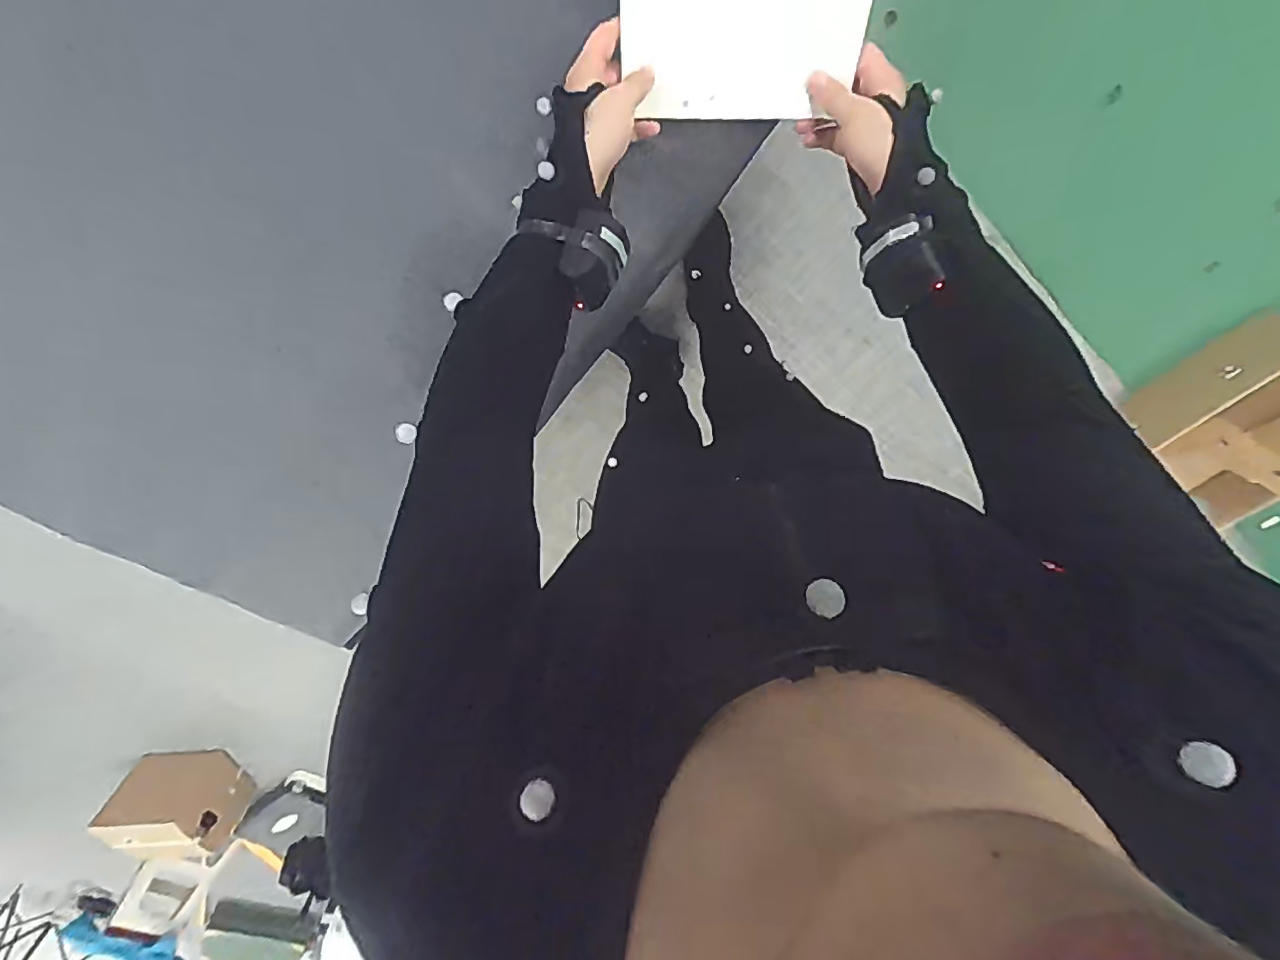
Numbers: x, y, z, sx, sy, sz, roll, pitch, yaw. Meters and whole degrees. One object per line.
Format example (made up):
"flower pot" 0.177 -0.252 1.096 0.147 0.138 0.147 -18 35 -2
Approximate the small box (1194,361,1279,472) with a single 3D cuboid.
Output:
"small box" 1.522 -0.158 1.325 0.168 0.176 0.179 -30 120 20

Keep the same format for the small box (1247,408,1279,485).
"small box" 1.502 -0.073 1.186 0.179 0.176 0.168 -34 119 22
